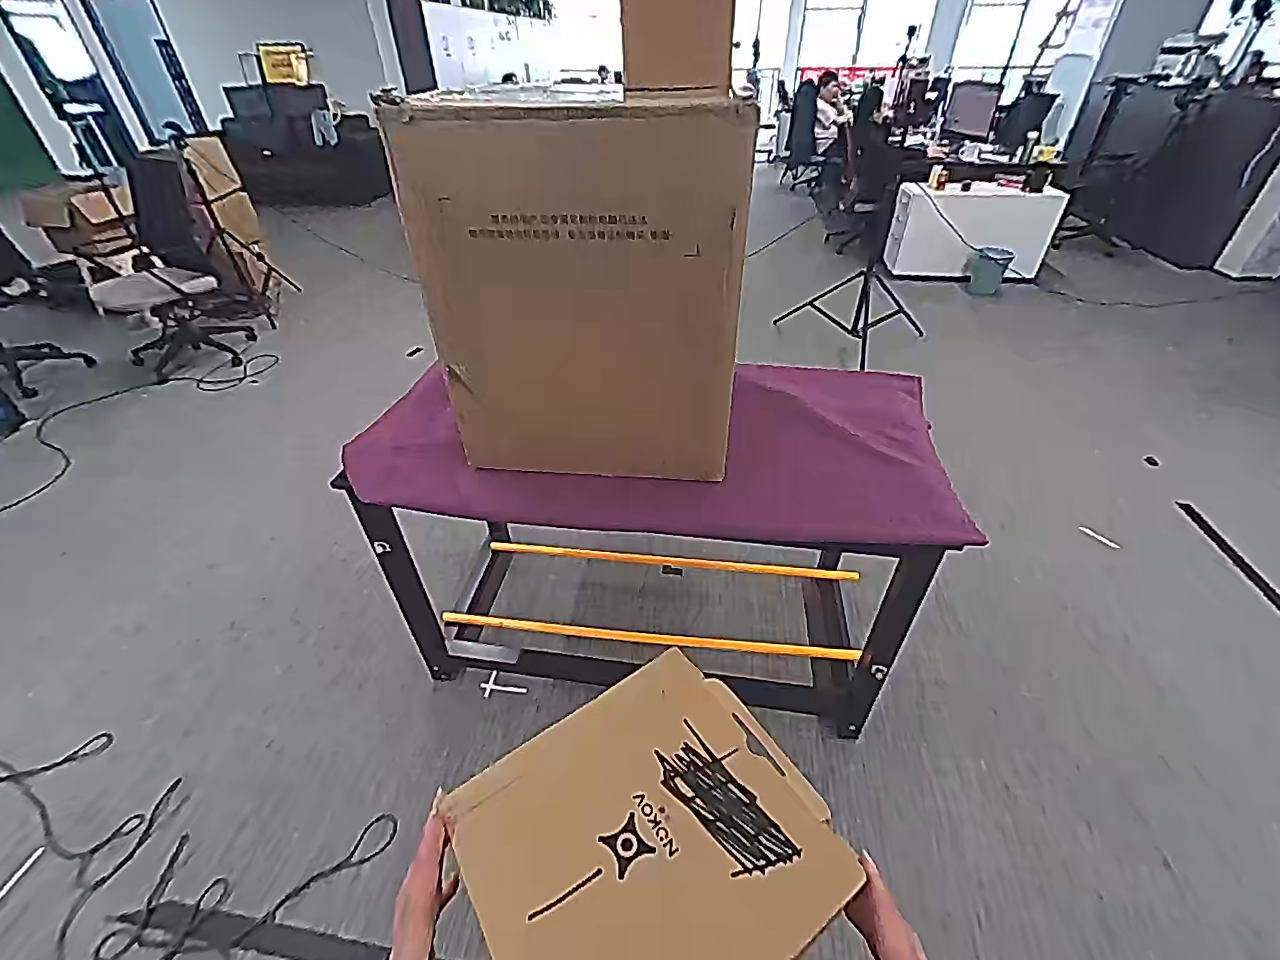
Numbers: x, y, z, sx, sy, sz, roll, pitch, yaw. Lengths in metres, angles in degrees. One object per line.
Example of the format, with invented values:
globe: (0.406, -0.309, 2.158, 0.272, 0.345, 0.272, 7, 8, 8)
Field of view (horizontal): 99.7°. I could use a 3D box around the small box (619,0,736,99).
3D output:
small box: (0.062, -0.715, 0.864, 0.179, 0.176, 0.168, 3, 38, 6)
